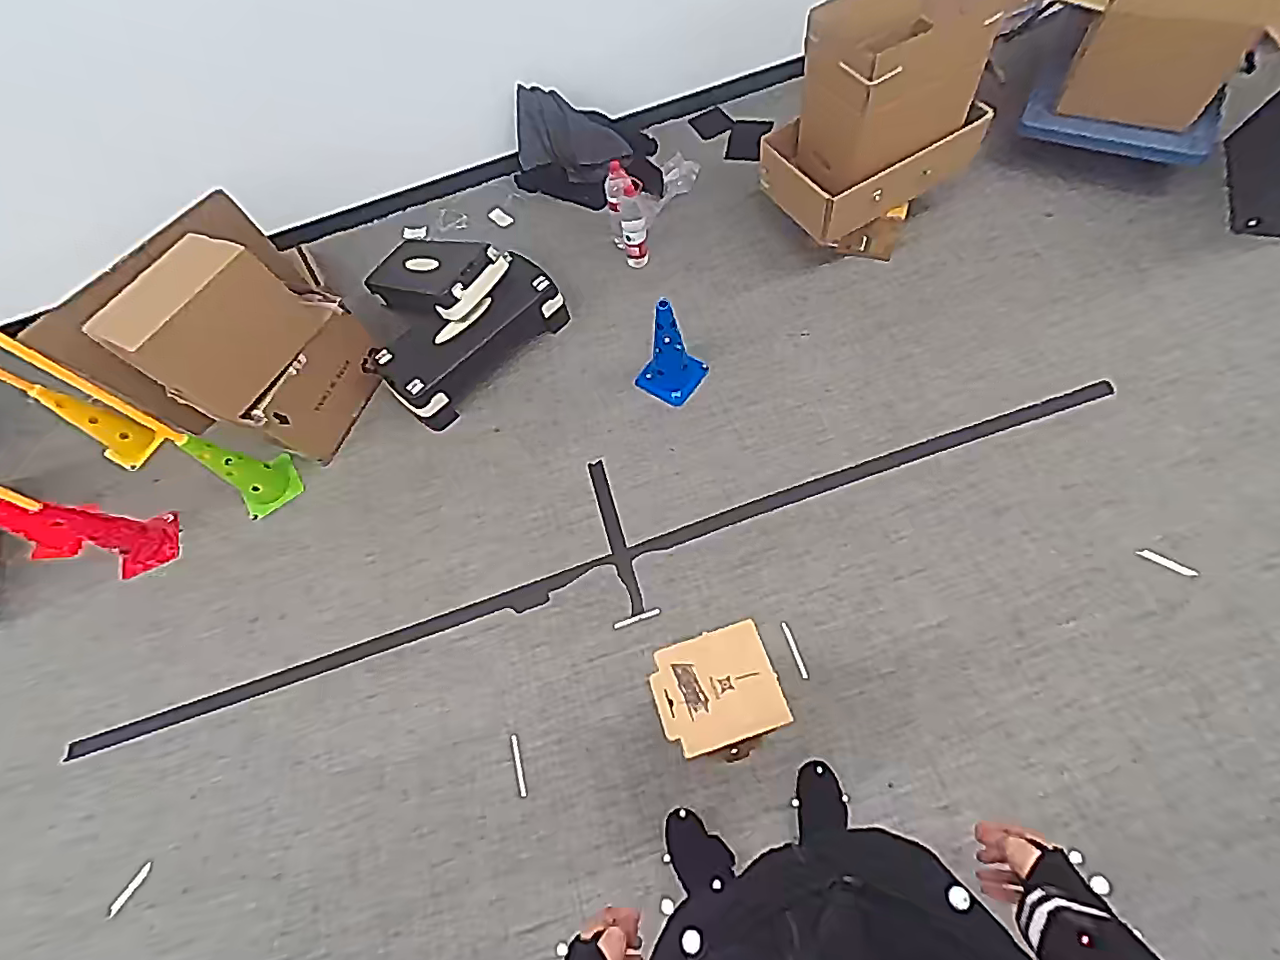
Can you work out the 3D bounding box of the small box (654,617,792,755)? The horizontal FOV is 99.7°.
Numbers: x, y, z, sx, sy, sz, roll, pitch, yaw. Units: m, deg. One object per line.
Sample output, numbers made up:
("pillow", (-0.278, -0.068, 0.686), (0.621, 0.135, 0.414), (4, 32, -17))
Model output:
("small box", (0.137, 0.353, 0.918), (0.179, 0.176, 0.168), (-19, 64, -2))
